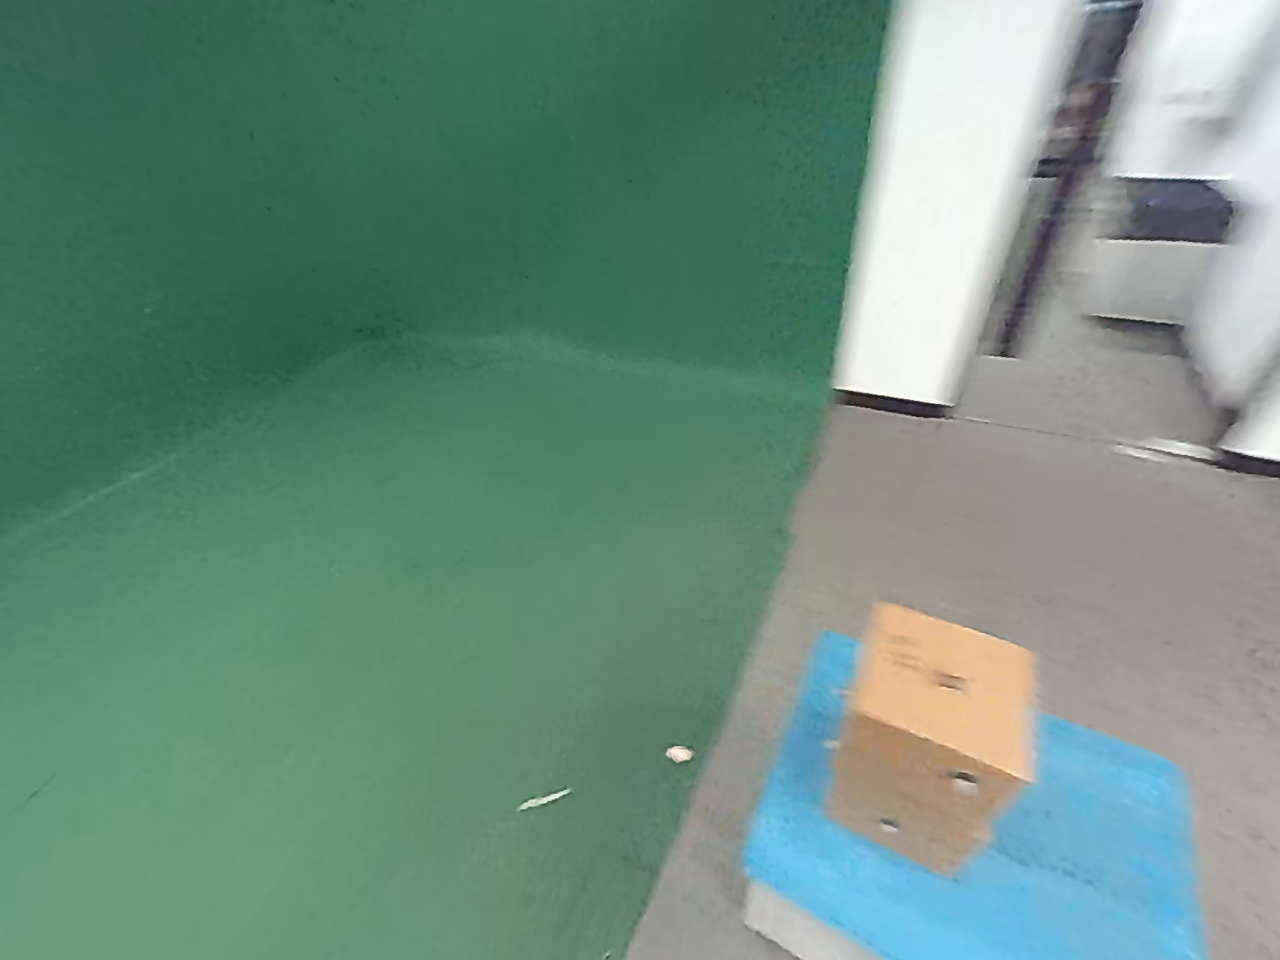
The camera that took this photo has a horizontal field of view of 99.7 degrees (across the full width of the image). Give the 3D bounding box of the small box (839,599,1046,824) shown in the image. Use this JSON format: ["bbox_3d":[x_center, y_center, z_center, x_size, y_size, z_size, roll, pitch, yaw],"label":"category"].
[{"bbox_3d":[0.363,0.285,0.664,0.179,0.176,0.168,17,45,25],"label":"small box"}]

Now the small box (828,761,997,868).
[{"bbox_3d":[0.385,0.411,0.768,0.179,0.176,0.168,17,45,25],"label":"small box"}]
